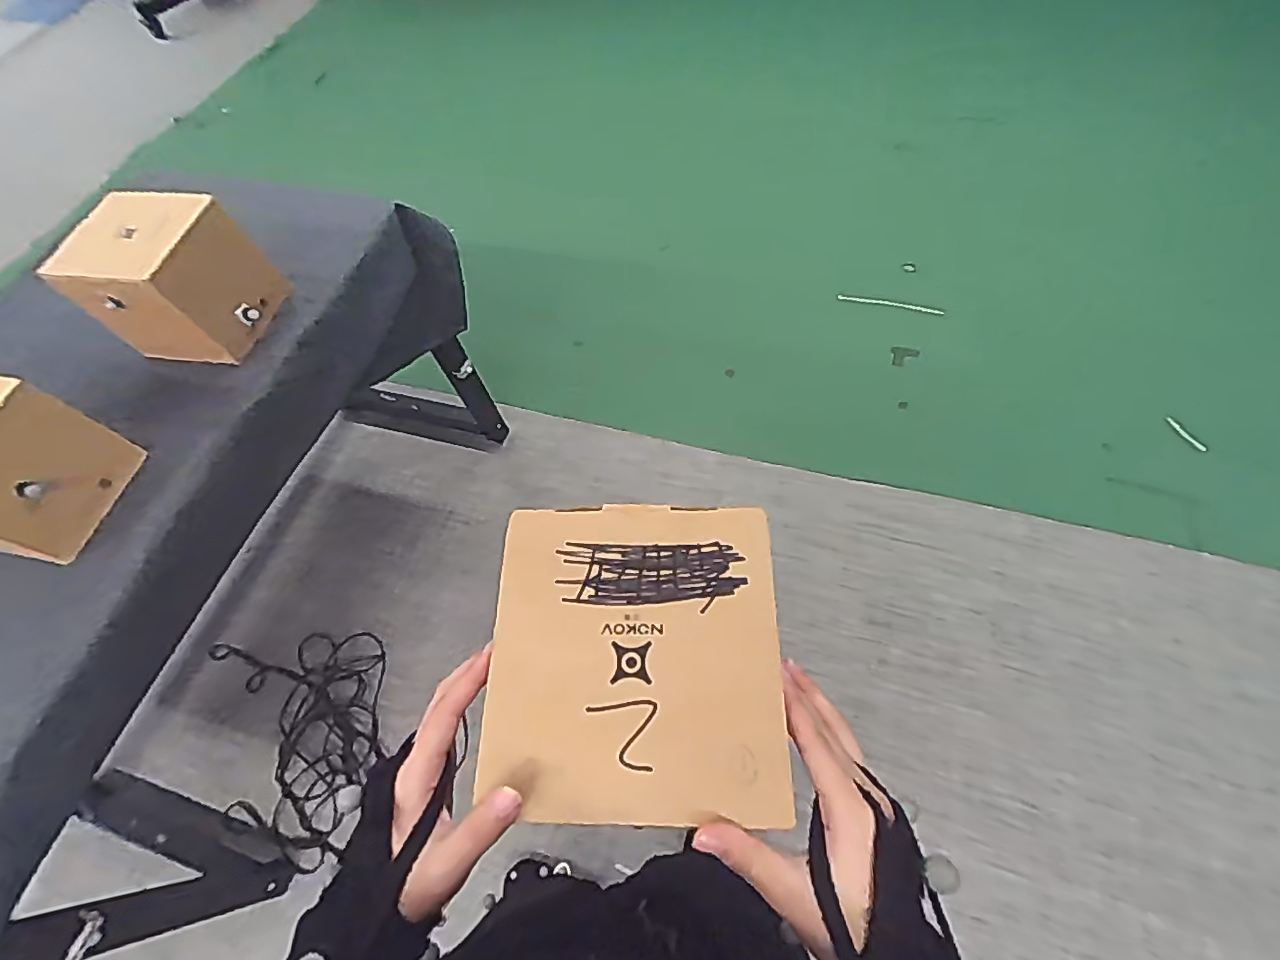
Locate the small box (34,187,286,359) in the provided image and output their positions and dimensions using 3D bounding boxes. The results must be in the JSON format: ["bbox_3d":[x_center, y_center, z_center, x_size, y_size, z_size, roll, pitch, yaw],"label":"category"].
[{"bbox_3d":[-0.673,-0.294,0.784,0.179,0.176,0.168,7,64,8],"label":"small box"}]

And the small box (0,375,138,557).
[{"bbox_3d":[-0.782,-0.018,0.648,0.179,0.176,0.168,8,63,10],"label":"small box"}]
